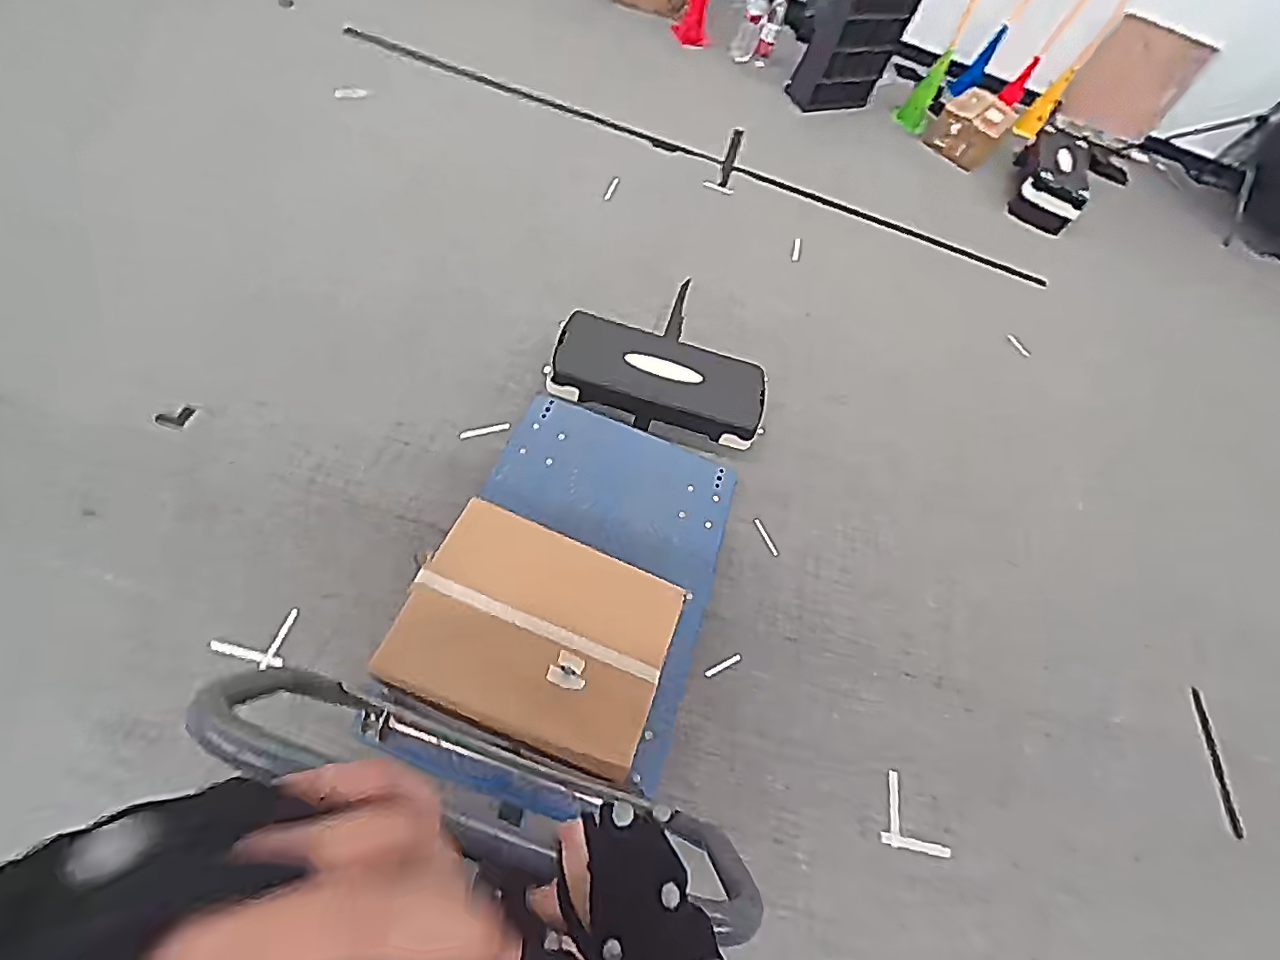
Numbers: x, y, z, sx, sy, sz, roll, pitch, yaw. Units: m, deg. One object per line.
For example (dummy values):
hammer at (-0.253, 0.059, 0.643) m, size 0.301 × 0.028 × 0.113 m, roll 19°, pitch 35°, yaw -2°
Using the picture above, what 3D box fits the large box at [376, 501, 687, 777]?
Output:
large box at (-0.184, 0.300, 0.976) m, size 0.408 × 0.320 × 0.320 m, roll 24°, pitch 59°, yaw -1°
